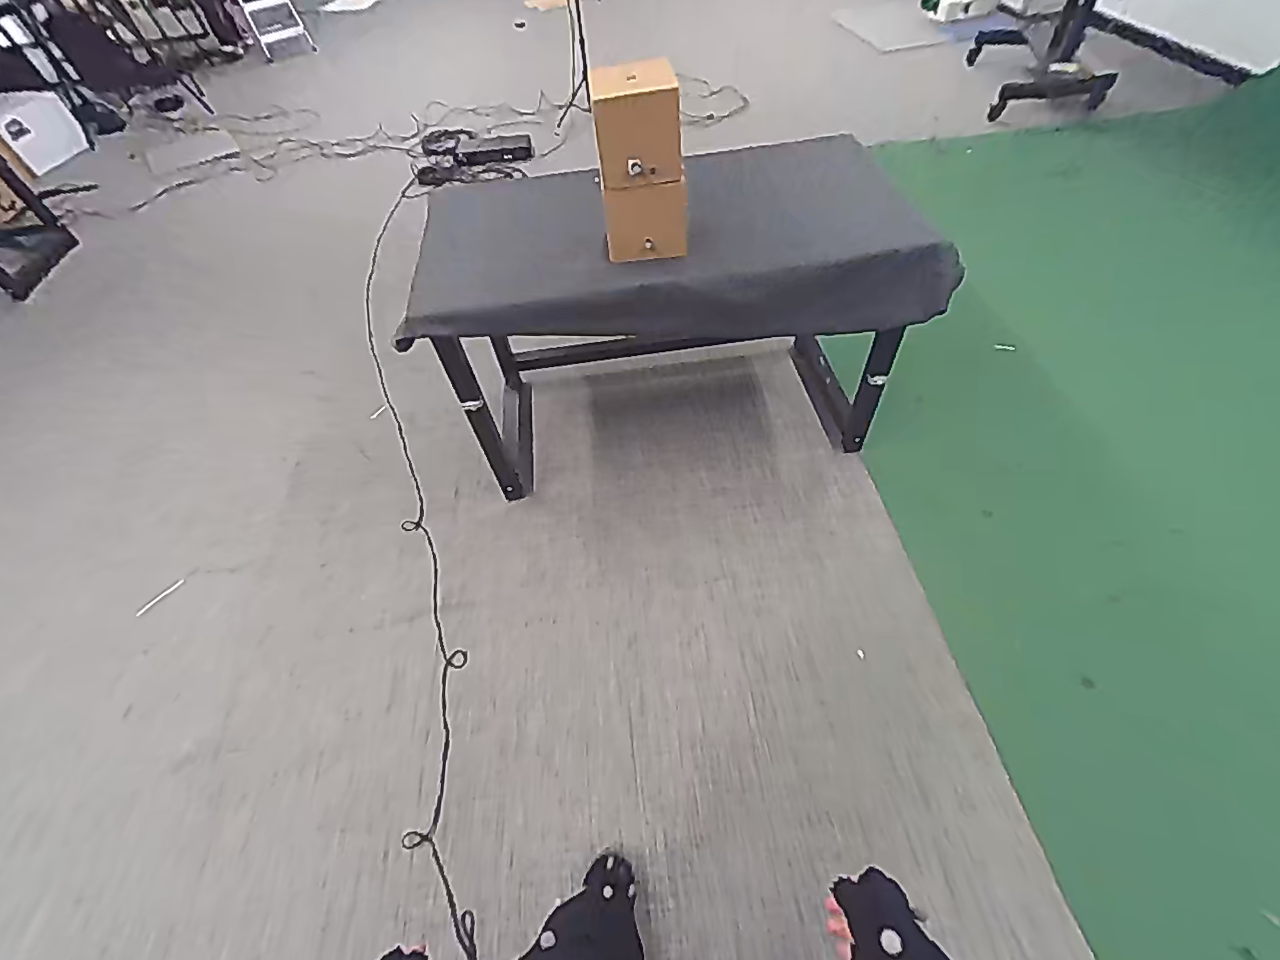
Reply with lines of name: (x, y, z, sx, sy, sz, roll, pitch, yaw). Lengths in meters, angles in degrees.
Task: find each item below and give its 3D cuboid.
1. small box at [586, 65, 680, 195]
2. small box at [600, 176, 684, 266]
small box: (-0.013, -0.714, 1.107, 0.168, 0.176, 0.179, -10, 53, 1)
small box: (0.003, -0.612, 1.234, 0.179, 0.176, 0.168, -6, 51, 0)
